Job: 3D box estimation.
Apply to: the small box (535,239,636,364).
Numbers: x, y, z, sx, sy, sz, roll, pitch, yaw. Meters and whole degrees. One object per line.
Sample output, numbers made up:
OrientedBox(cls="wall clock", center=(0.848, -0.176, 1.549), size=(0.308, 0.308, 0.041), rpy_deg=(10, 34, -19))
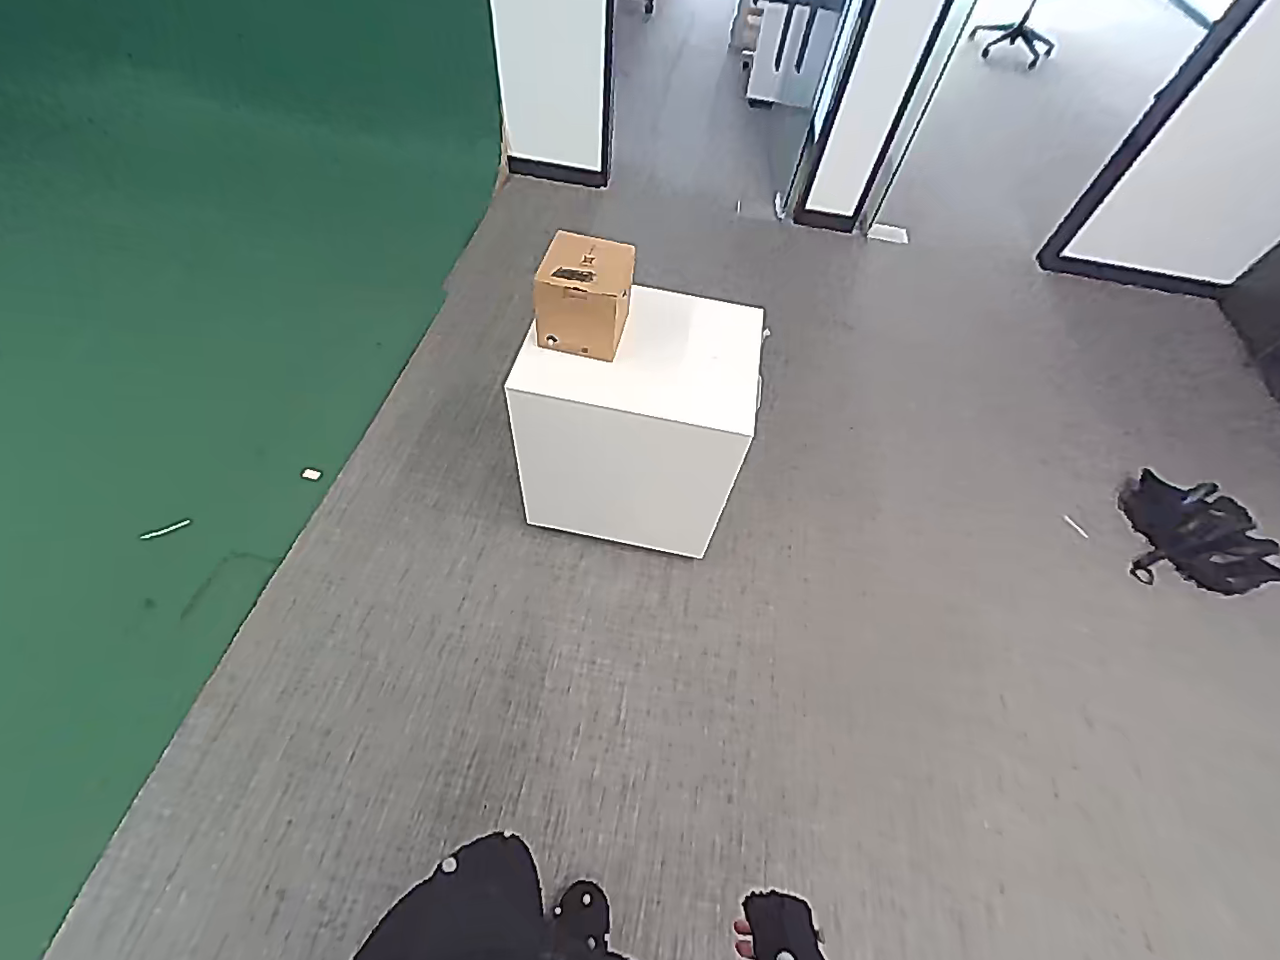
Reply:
OrientedBox(cls="small box", center=(-0.110, -0.370, 1.135), size=(0.168, 0.176, 0.179), rpy_deg=(12, 55, 2))
